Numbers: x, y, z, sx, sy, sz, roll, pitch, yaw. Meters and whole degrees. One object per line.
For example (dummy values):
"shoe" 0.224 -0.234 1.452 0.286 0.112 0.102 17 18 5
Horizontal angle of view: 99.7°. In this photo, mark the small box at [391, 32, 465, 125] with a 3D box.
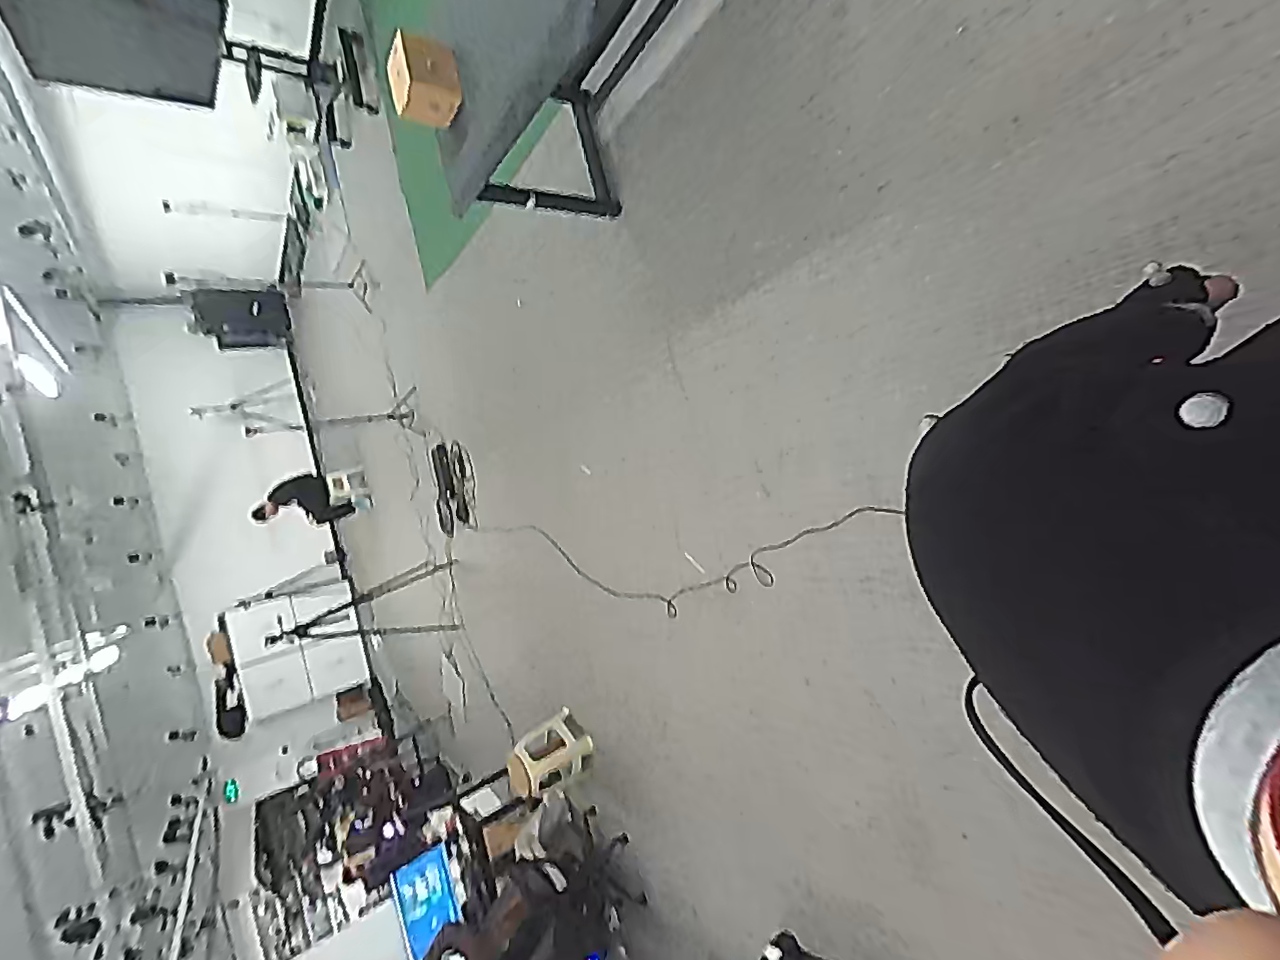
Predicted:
"small box" -0.693 -1.305 1.776 0.168 0.176 0.179 -12 91 51
